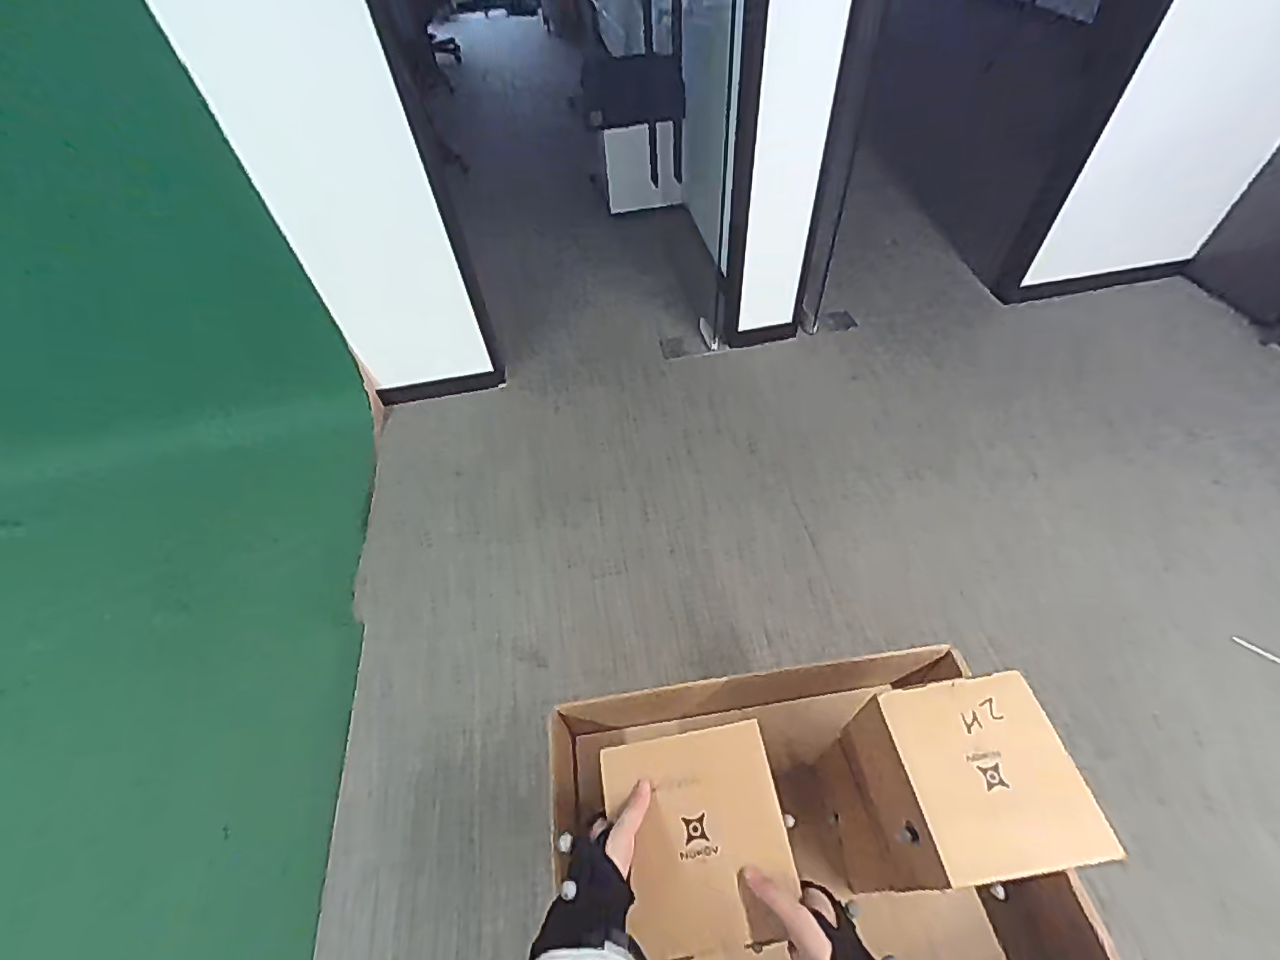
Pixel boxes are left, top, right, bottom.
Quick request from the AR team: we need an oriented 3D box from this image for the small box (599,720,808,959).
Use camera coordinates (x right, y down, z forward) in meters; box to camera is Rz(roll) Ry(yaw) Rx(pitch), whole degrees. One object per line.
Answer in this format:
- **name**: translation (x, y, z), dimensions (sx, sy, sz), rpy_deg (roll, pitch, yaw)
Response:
- **small box**: translation (0.062, 0.369, 0.567), dimensions (0.168, 0.176, 0.179), rpy_deg (-12, 58, 1)

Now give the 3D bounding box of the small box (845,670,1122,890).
- **small box**: translation (0.350, 0.334, 0.596), dimensions (0.168, 0.176, 0.179), rpy_deg (-8, 51, -2)
